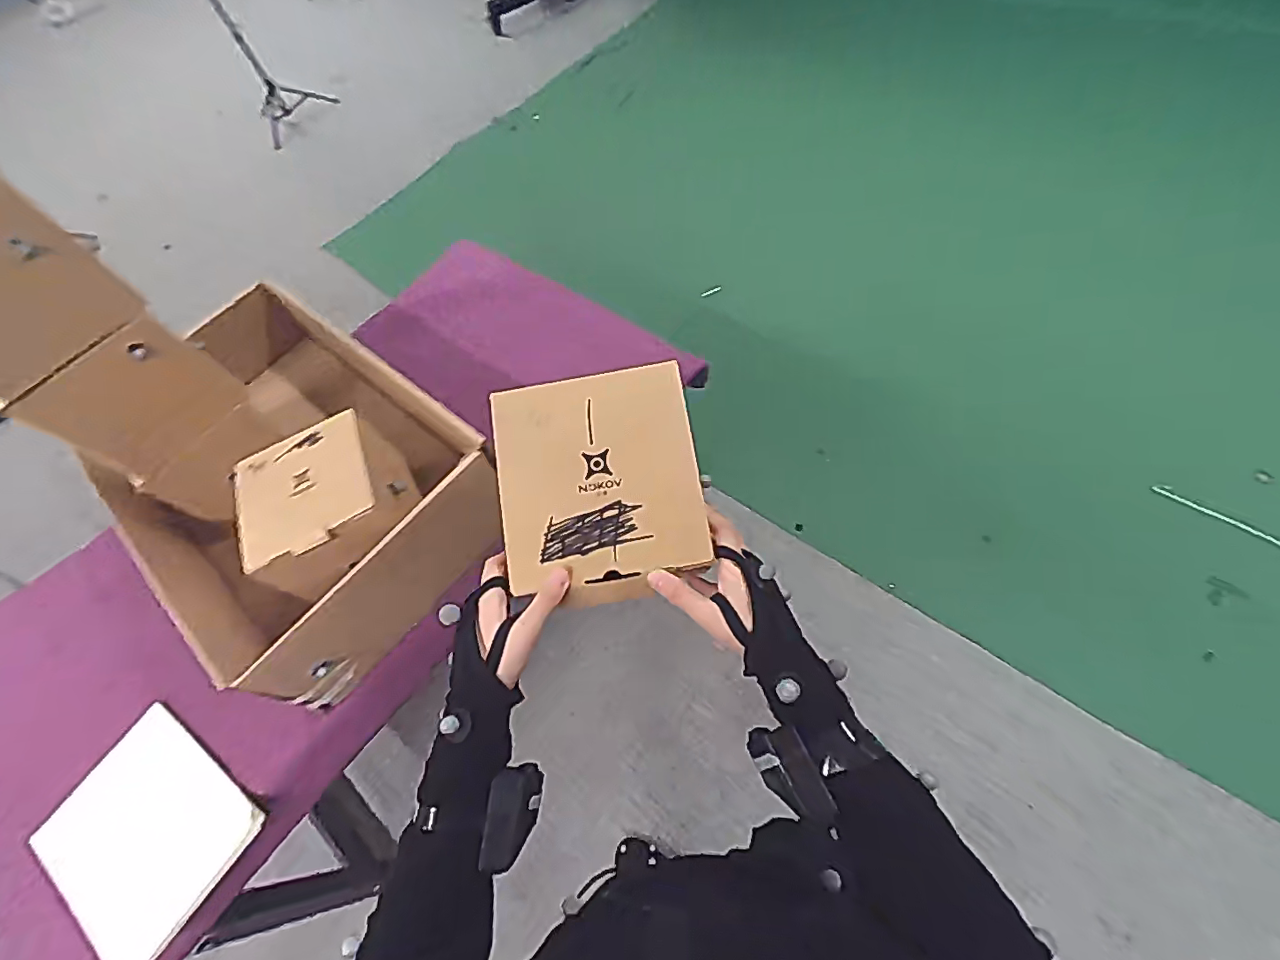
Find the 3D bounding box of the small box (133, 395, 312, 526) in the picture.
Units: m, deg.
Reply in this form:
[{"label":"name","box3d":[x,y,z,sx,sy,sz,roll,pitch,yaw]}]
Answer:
[{"label":"small box","box3d":[-0.665,-0.049,0.846,0.179,0.176,0.168,35,71,23]}]

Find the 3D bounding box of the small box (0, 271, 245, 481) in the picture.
[{"label":"small box","box3d":[-0.680,-0.129,0.706,0.168,0.176,0.179,32,70,22]}]

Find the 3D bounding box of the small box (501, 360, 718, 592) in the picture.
[{"label":"small box","box3d":[-0.022,0.011,0.520,0.168,0.176,0.179,-9,76,2]}]
